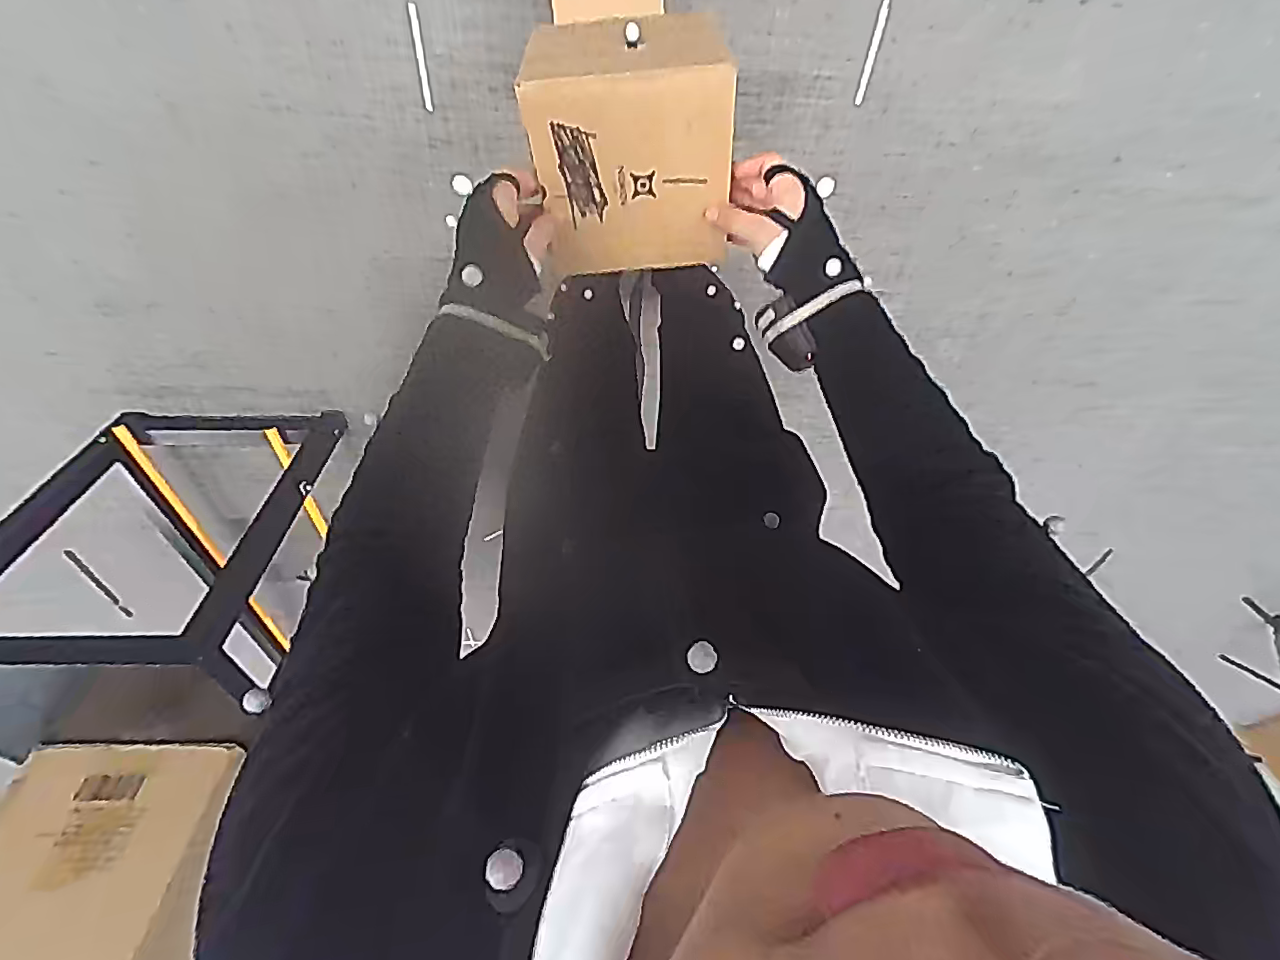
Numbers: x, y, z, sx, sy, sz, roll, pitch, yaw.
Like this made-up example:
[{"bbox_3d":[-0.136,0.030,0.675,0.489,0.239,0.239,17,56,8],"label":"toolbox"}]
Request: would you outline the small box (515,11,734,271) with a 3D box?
[{"bbox_3d":[-0.010,-0.331,0.532,0.179,0.176,0.168,-5,142,2],"label":"small box"}]
